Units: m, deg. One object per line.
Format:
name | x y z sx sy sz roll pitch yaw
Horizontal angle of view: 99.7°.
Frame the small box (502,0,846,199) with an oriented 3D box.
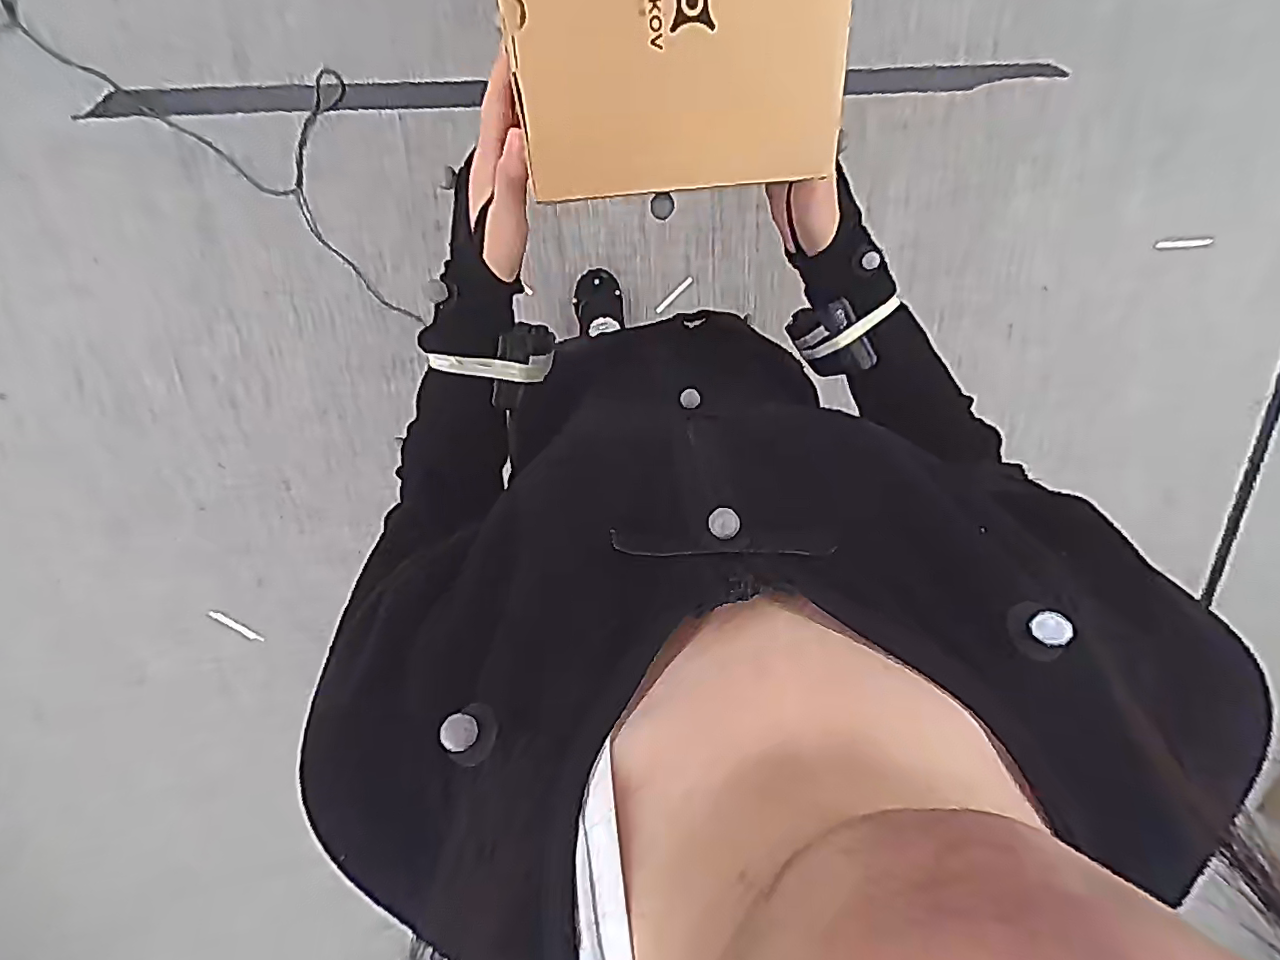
small box | 0.010 -0.279 0.334 0.179 0.176 0.168 -7 123 -3
